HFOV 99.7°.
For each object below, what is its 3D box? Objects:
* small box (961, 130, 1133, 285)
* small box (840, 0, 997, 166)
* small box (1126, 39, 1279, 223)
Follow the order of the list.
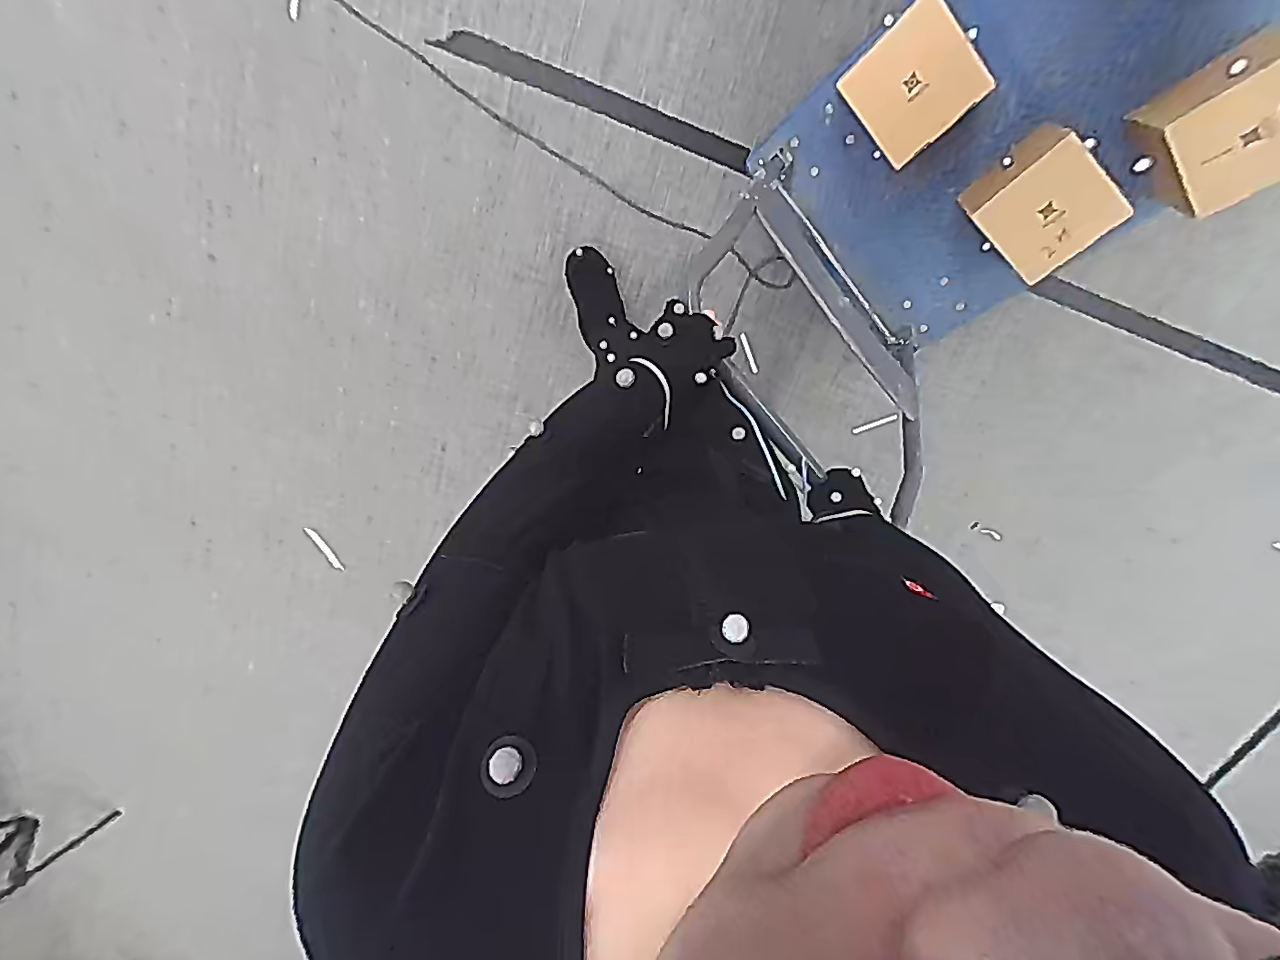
[{"bbox_3d":[0.703,-0.486,0.958,0.179,0.176,0.168,41,130,-12],"label":"small box"},{"bbox_3d":[0.455,-0.671,0.911,0.179,0.176,0.168,43,129,-16],"label":"small box"},{"bbox_3d":[0.910,-0.540,0.835,0.179,0.176,0.168,-27,113,36],"label":"small box"}]
